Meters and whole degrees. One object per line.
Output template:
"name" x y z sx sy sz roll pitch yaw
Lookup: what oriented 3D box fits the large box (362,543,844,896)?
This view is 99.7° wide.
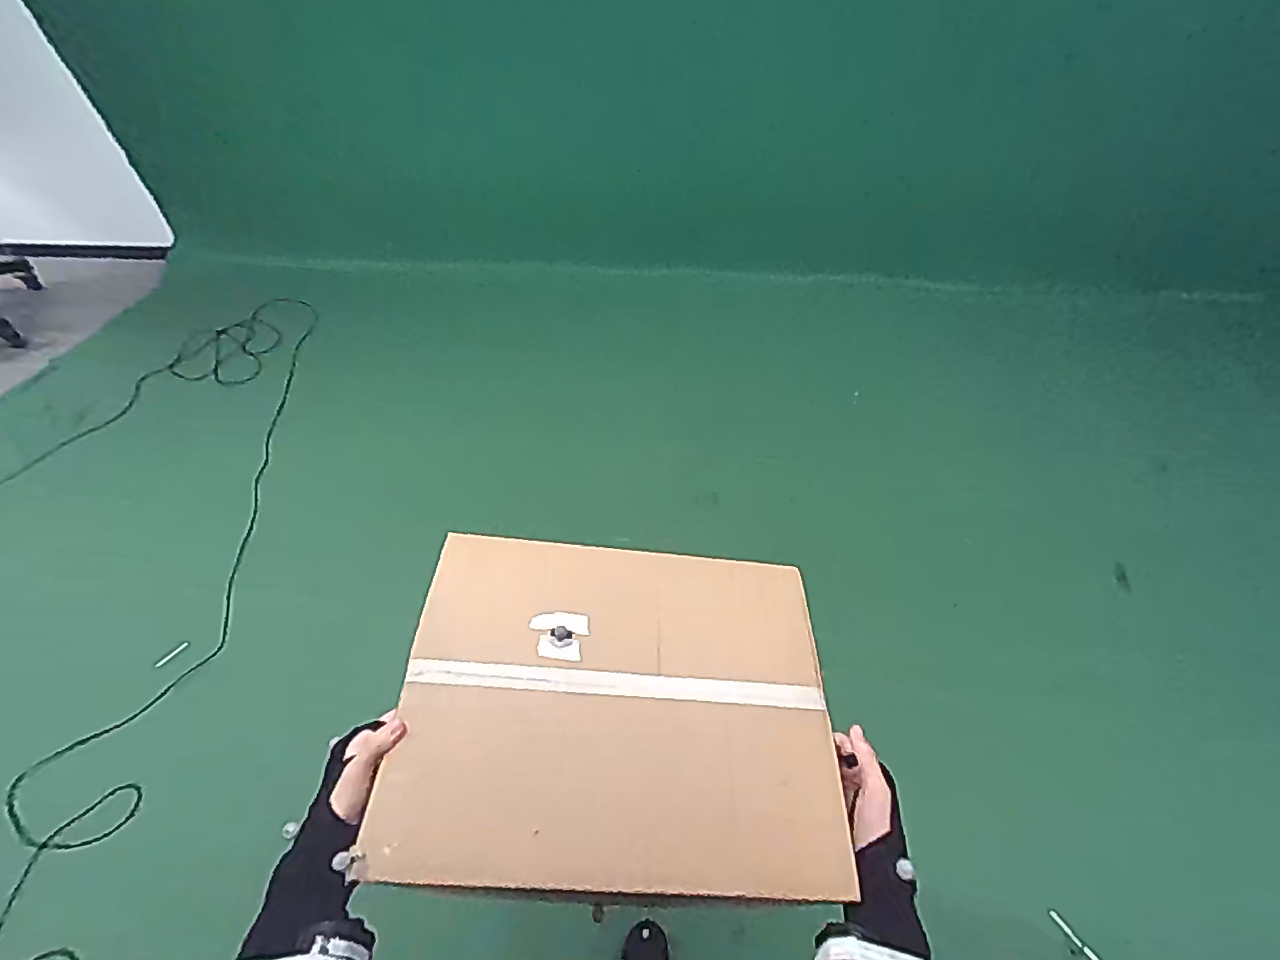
"large box" -0.036 0.299 0.647 0.408 0.320 0.320 6 50 -4
